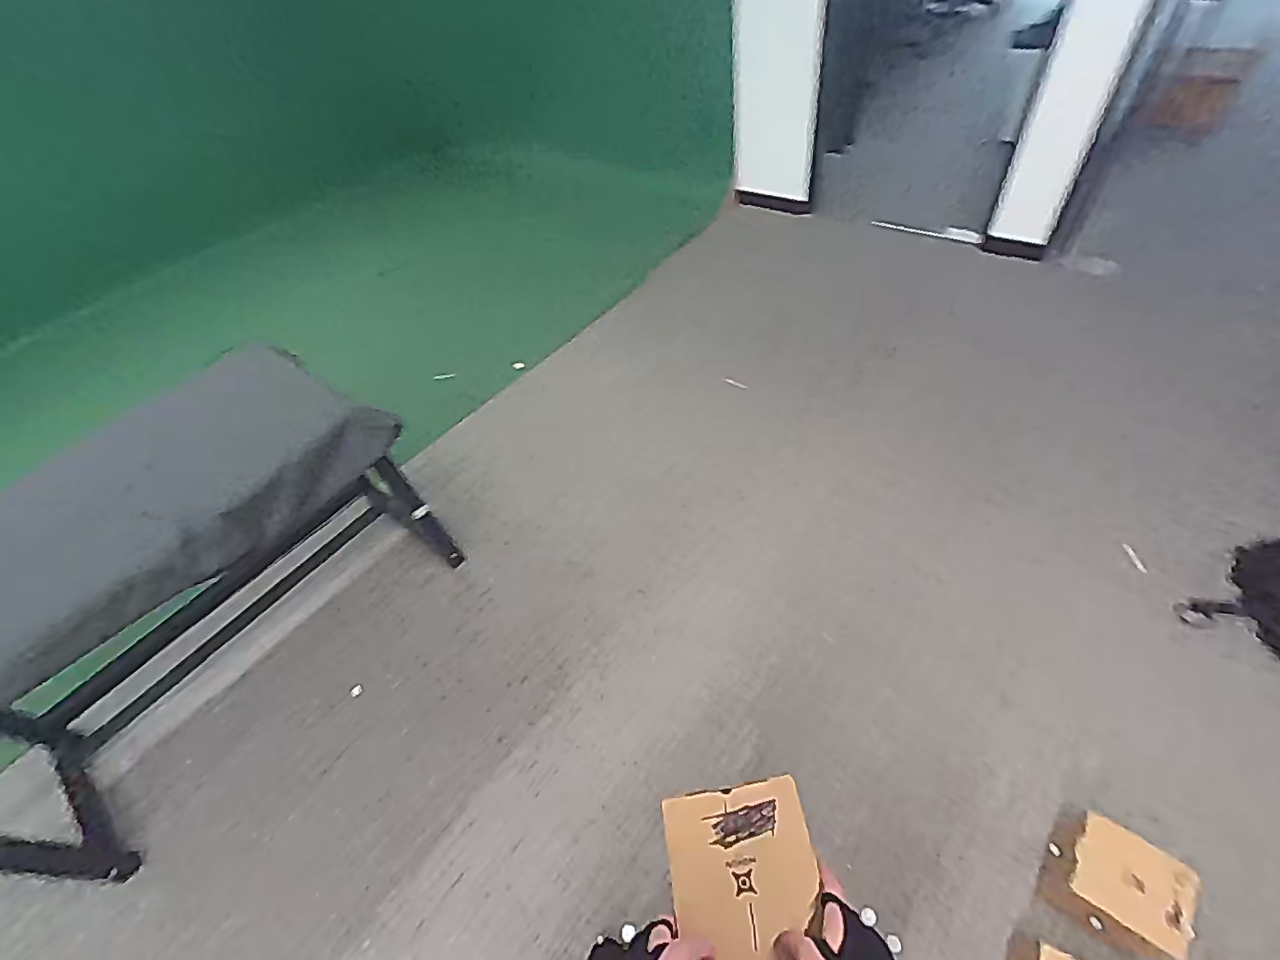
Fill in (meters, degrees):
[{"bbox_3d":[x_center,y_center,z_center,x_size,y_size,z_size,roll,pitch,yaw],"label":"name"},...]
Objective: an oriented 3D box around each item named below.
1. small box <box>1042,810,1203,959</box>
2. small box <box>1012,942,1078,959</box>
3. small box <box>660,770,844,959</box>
[{"bbox_3d":[0.936,0.798,1.063,0.179,0.176,0.168,27,59,30],"label":"small box"},{"bbox_3d":[0.772,0.963,0.954,0.179,0.176,0.168,21,58,23],"label":"small box"},{"bbox_3d":[0.127,0.474,0.644,0.168,0.176,0.179,-14,47,5],"label":"small box"}]
